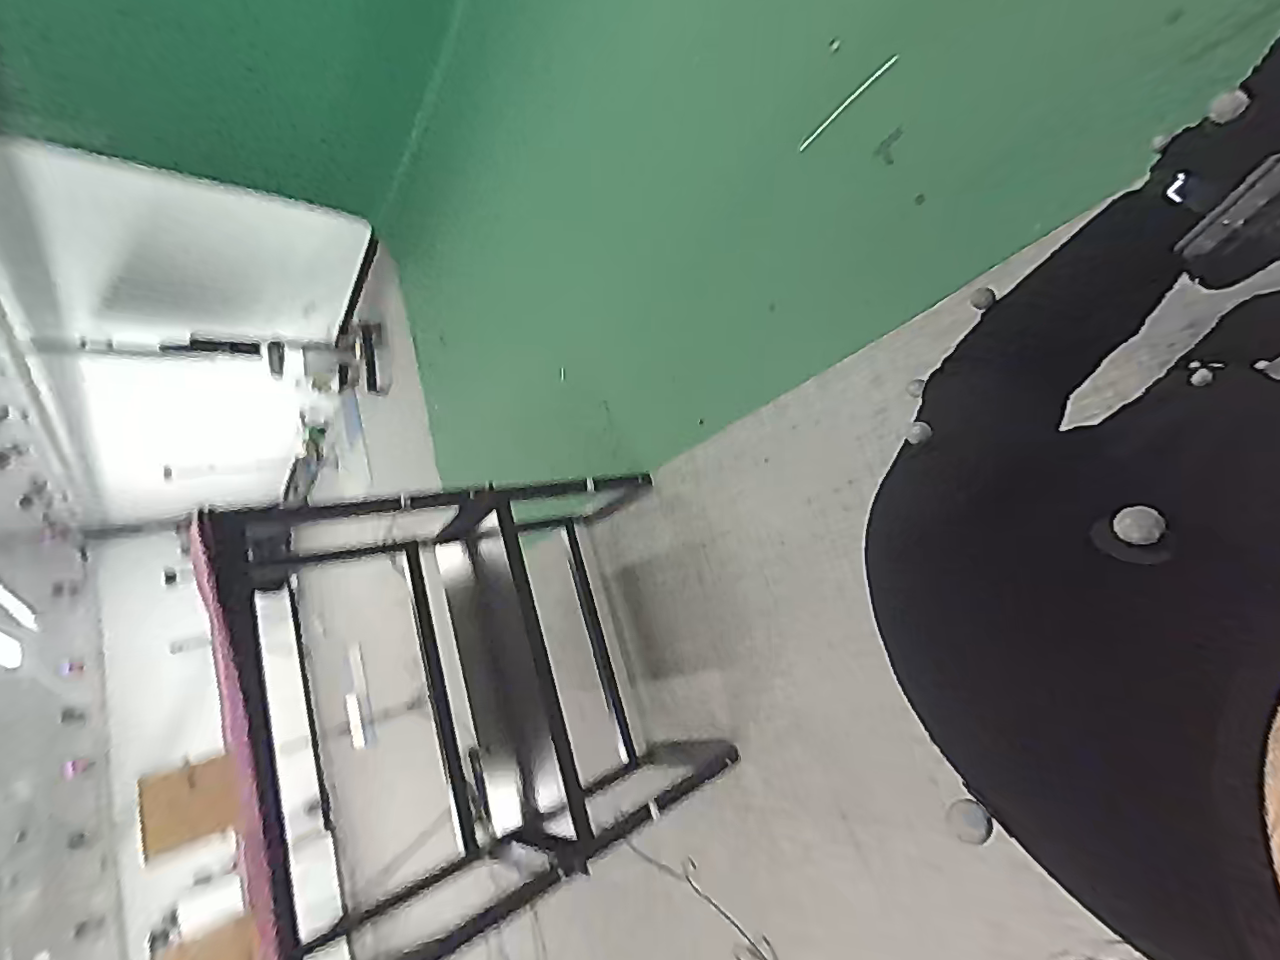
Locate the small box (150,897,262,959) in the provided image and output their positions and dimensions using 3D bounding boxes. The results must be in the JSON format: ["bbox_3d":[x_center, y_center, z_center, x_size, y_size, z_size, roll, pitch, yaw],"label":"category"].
[{"bbox_3d":[-0.883,0.997,1.108,0.179,0.176,0.168,-34,68,45],"label":"small box"}]

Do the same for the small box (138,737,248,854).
[{"bbox_3d":[-0.998,0.690,1.209,0.168,0.176,0.179,-33,71,46],"label":"small box"}]
